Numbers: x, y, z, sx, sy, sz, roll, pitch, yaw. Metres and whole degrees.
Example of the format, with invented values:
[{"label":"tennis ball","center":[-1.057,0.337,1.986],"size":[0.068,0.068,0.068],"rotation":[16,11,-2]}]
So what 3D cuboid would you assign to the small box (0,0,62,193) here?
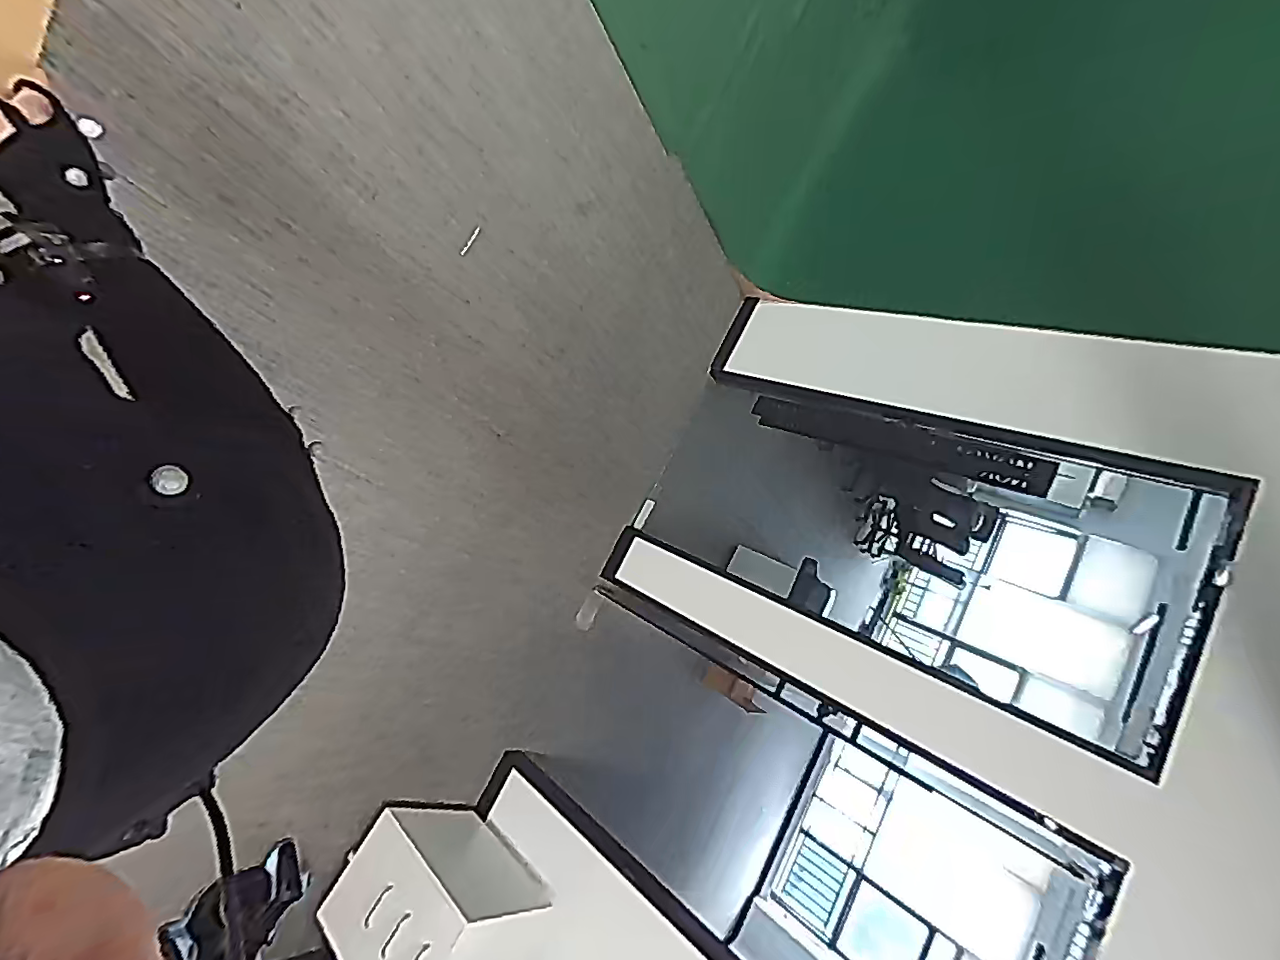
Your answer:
[{"label":"small box","center":[-0.616,-0.361,0.437],"size":[0.168,0.176,0.179],"rotation":[12,98,-56]}]
